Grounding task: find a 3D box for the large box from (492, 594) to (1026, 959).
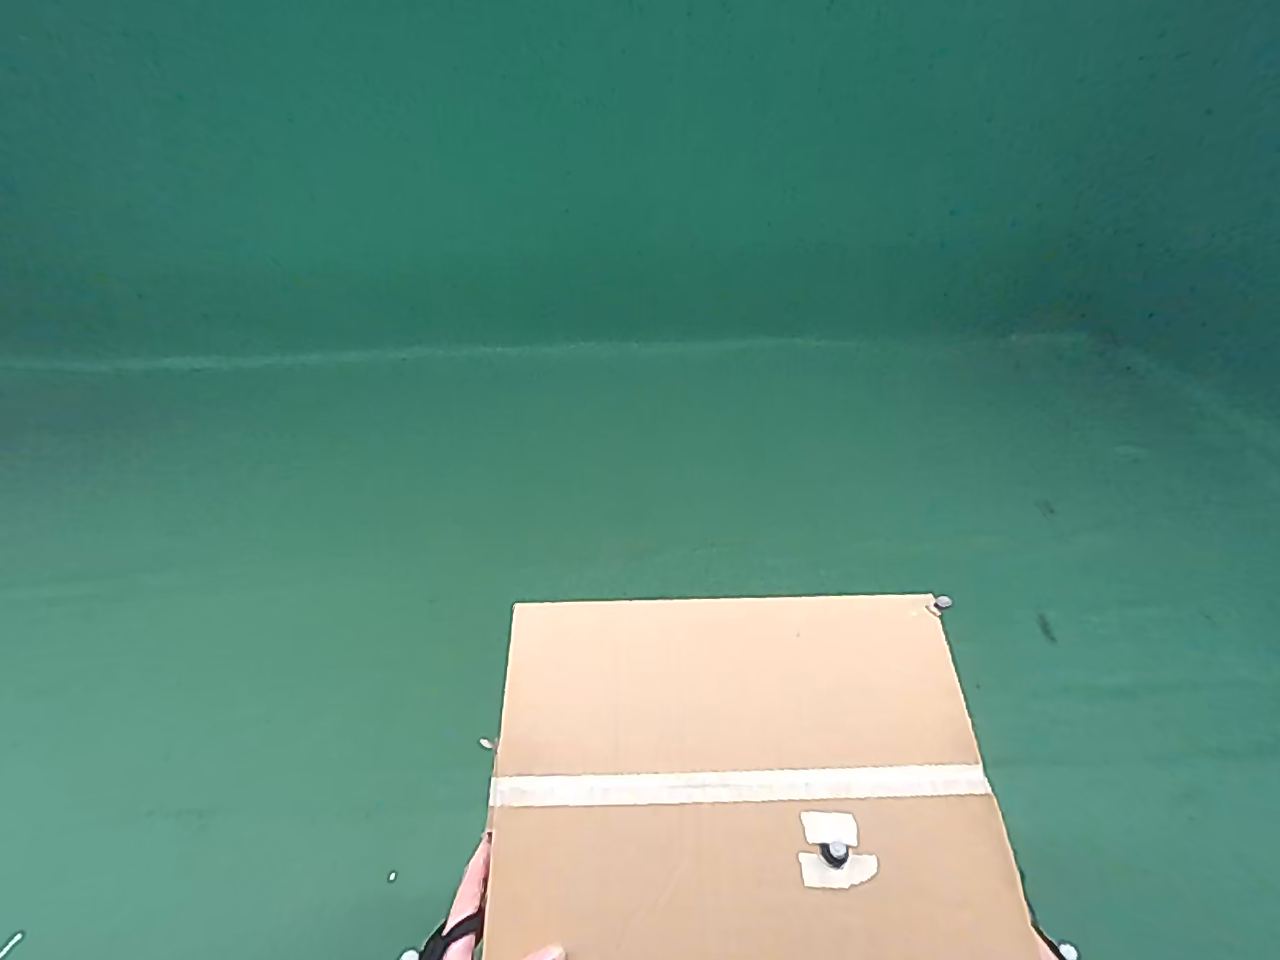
[{"bbox_3d":[0.082,0.328,0.588,0.408,0.320,0.320,-2,61,-1],"label":"large box"}]
